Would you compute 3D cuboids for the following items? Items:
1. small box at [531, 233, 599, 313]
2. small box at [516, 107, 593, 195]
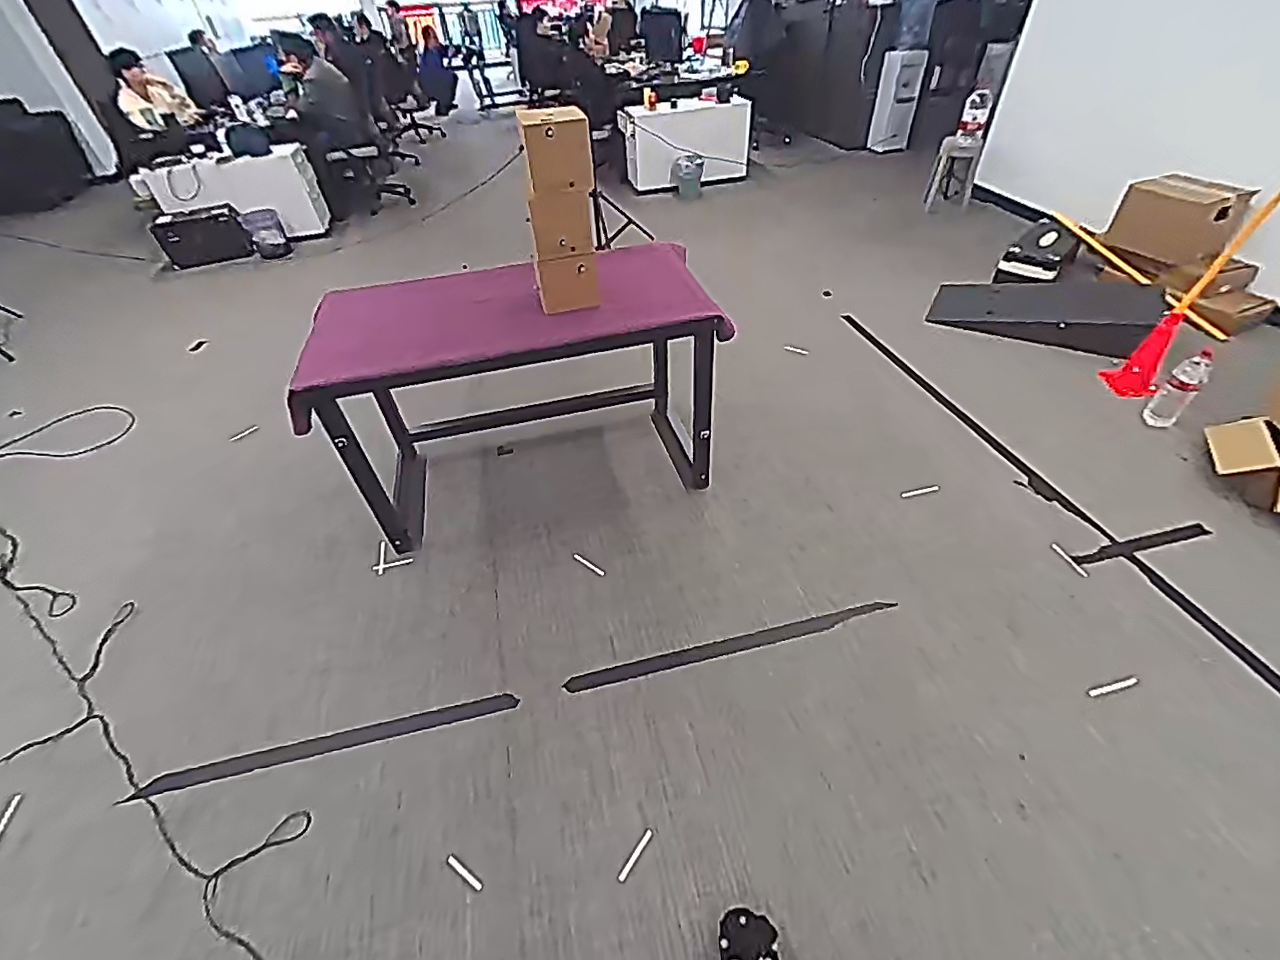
[{"bbox_3d":[-0.227,-0.637,1.668,0.179,0.176,0.168,-13,44,-8],"label":"small box"},{"bbox_3d":[-0.227,-0.878,1.444,0.168,0.176,0.179,-13,44,-9],"label":"small box"}]
